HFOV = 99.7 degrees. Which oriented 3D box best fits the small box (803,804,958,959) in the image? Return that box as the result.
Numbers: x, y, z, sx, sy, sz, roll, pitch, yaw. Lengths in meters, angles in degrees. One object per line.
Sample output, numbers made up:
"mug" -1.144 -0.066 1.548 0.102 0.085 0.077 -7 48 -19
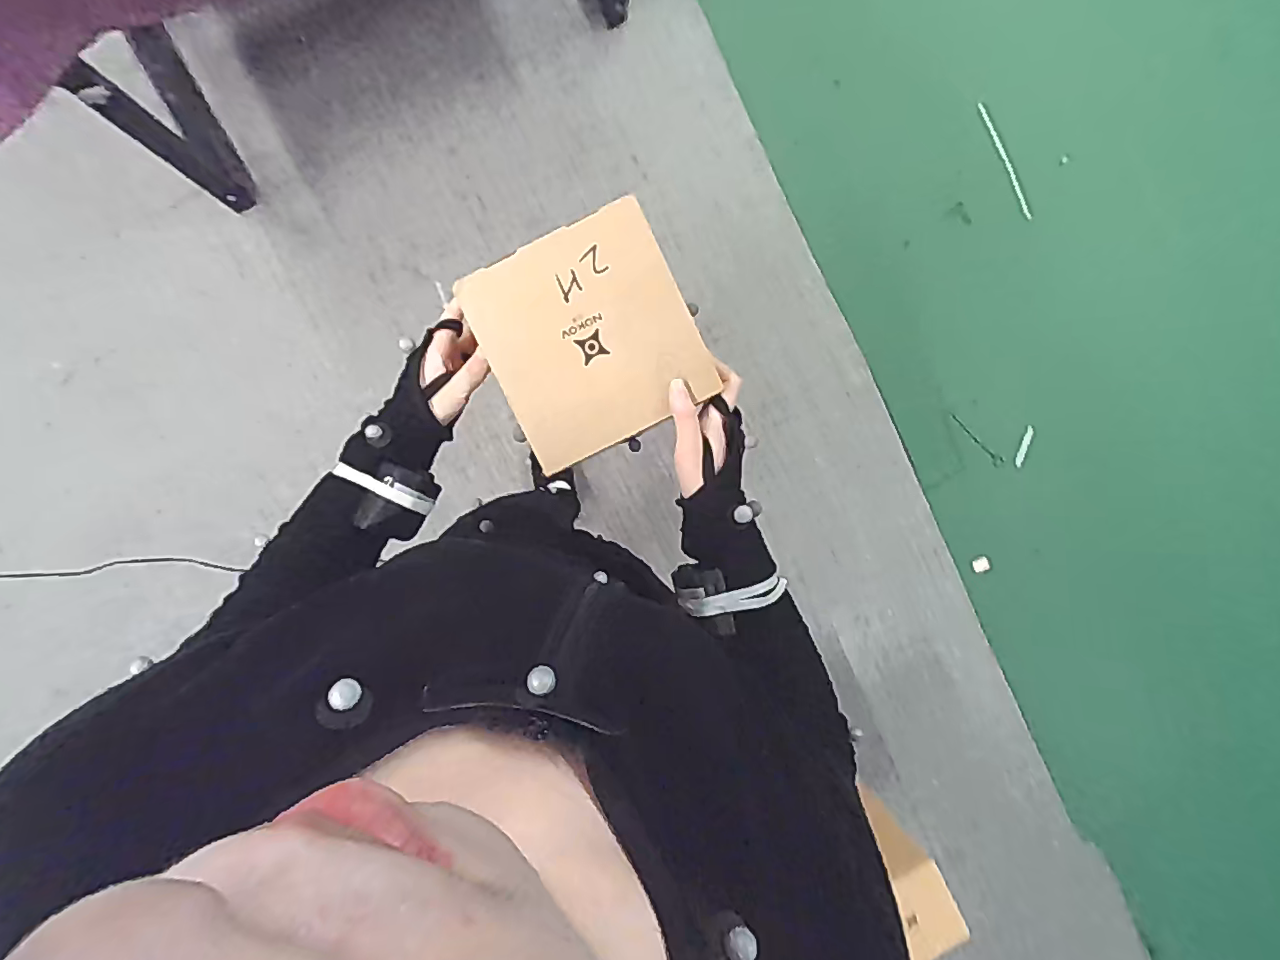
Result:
"small box" 0.440 0.757 1.012 0.179 0.176 0.168 -27 95 -4
